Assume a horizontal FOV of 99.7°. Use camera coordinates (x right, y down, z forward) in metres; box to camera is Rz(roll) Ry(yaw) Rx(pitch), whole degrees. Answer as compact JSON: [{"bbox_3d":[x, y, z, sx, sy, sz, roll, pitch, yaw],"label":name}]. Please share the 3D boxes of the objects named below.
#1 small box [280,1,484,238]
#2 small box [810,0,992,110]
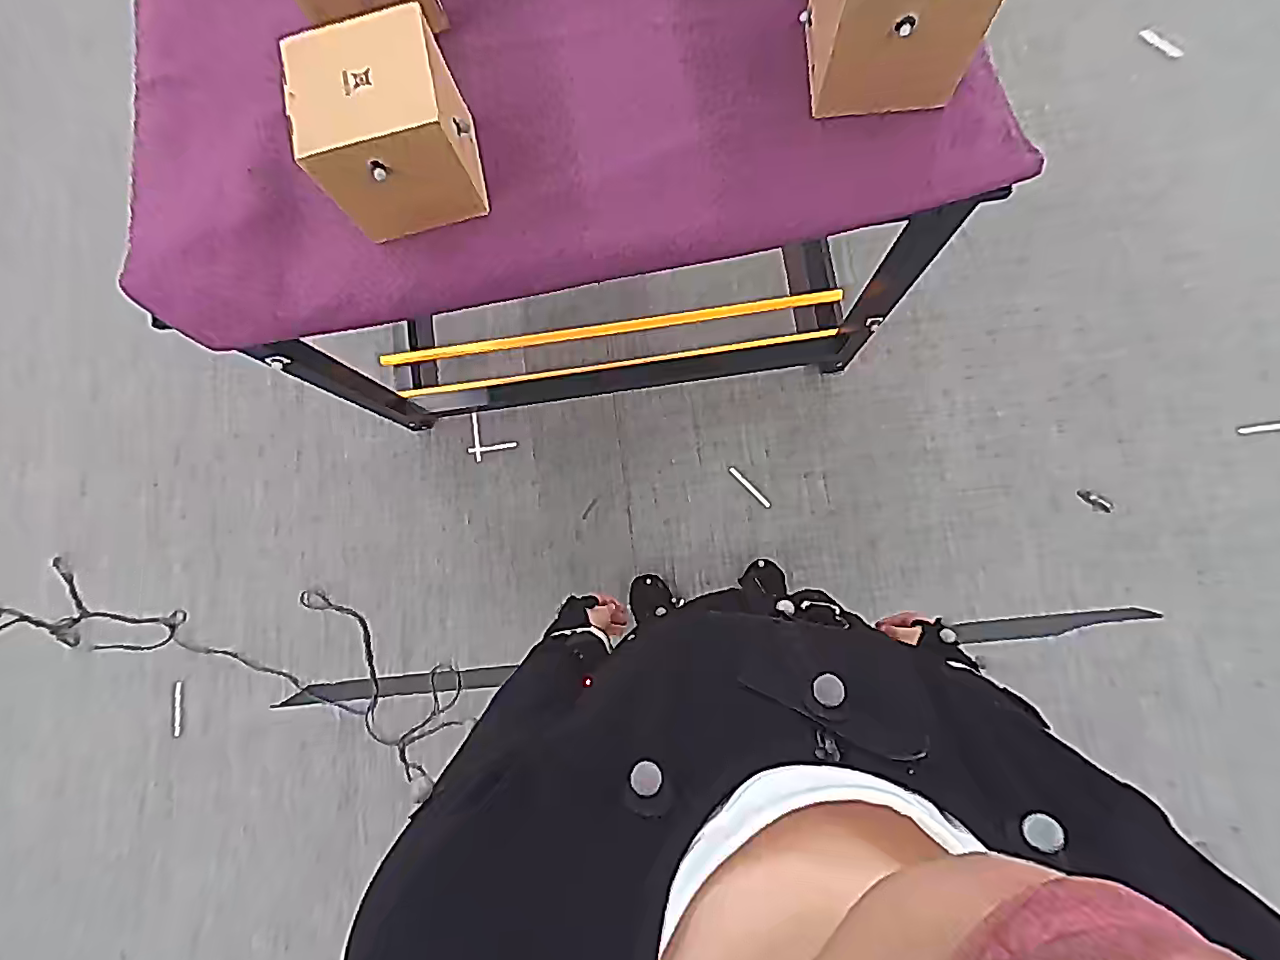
[{"bbox_3d":[-0.316,-0.447,0.696,0.179,0.176,0.168,-13,81,3],"label":"small box"},{"bbox_3d":[0.313,-0.591,0.661,0.179,0.176,0.168,-2,81,4],"label":"small box"}]
